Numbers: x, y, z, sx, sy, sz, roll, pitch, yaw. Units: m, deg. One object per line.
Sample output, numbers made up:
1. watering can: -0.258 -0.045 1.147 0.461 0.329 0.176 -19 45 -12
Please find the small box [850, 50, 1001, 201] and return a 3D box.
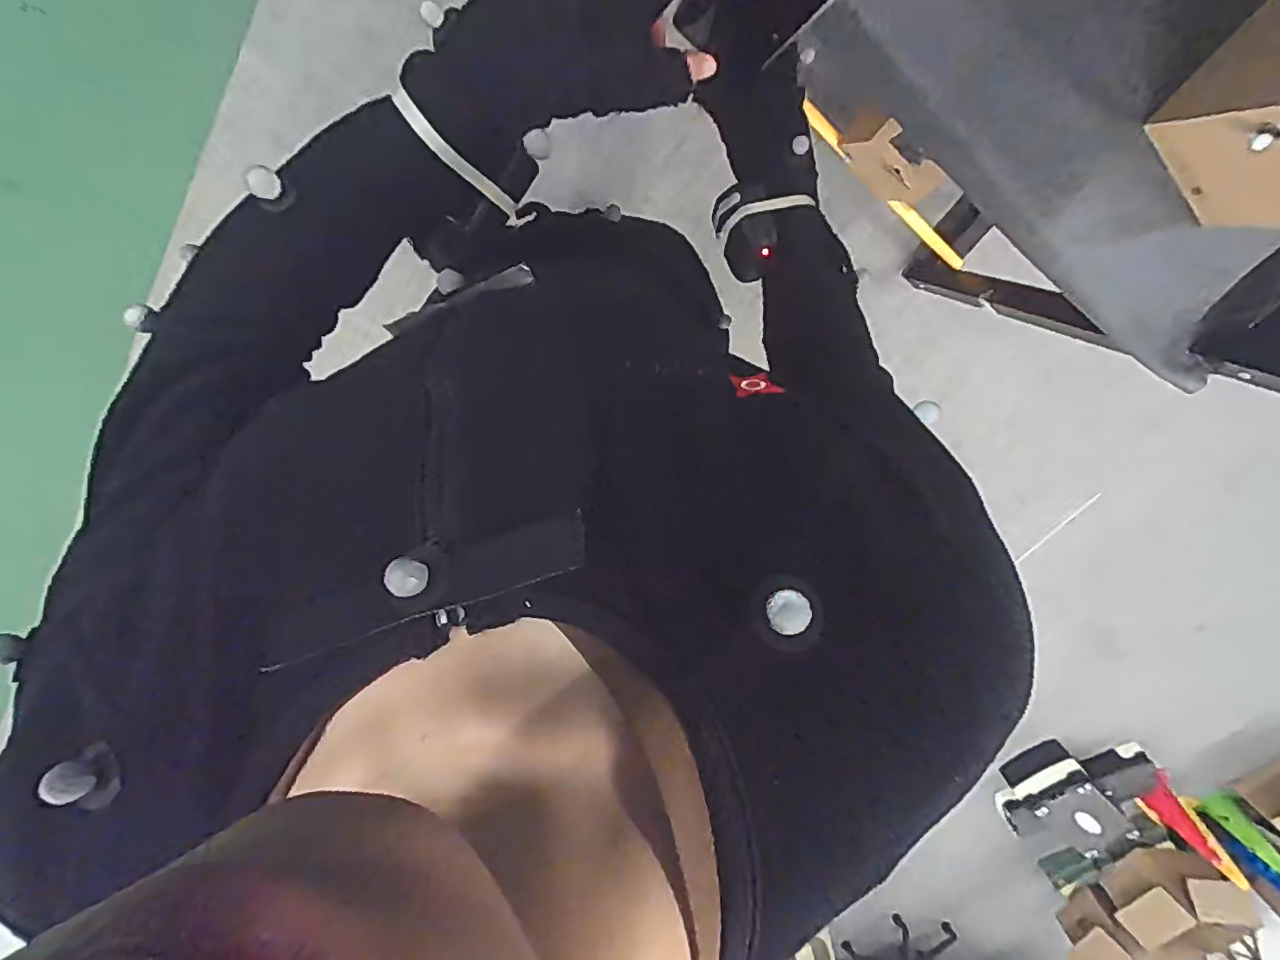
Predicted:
1. small box: 0.540 -0.677 1.056 0.168 0.176 0.179 35 111 -21
